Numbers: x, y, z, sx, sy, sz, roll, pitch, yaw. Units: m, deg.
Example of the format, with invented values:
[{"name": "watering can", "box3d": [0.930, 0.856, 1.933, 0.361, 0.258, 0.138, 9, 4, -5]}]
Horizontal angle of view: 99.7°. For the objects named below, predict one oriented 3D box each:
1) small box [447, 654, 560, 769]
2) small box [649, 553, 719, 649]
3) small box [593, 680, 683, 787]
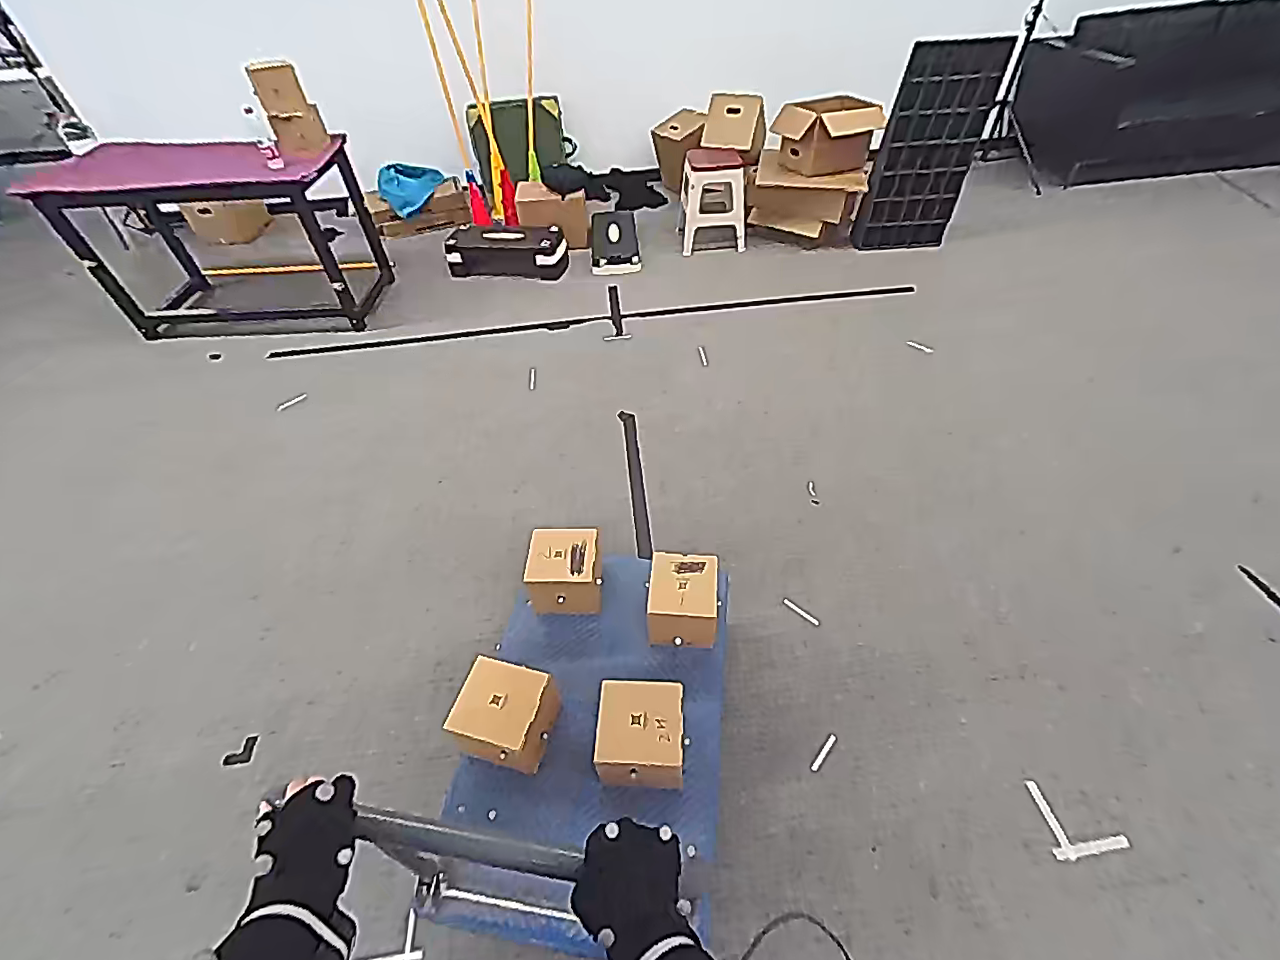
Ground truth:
[{"name": "small box", "box3d": [-0.296, 0.522, 1.213, 0.179, 0.176, 0.168, 11, 48, 11]}, {"name": "small box", "box3d": [0.113, 0.311, 1.387, 0.168, 0.176, 0.179, 3, 48, 6]}, {"name": "small box", "box3d": [0.004, 0.550, 1.170, 0.179, 0.176, 0.168, 1, 47, 5]}]
